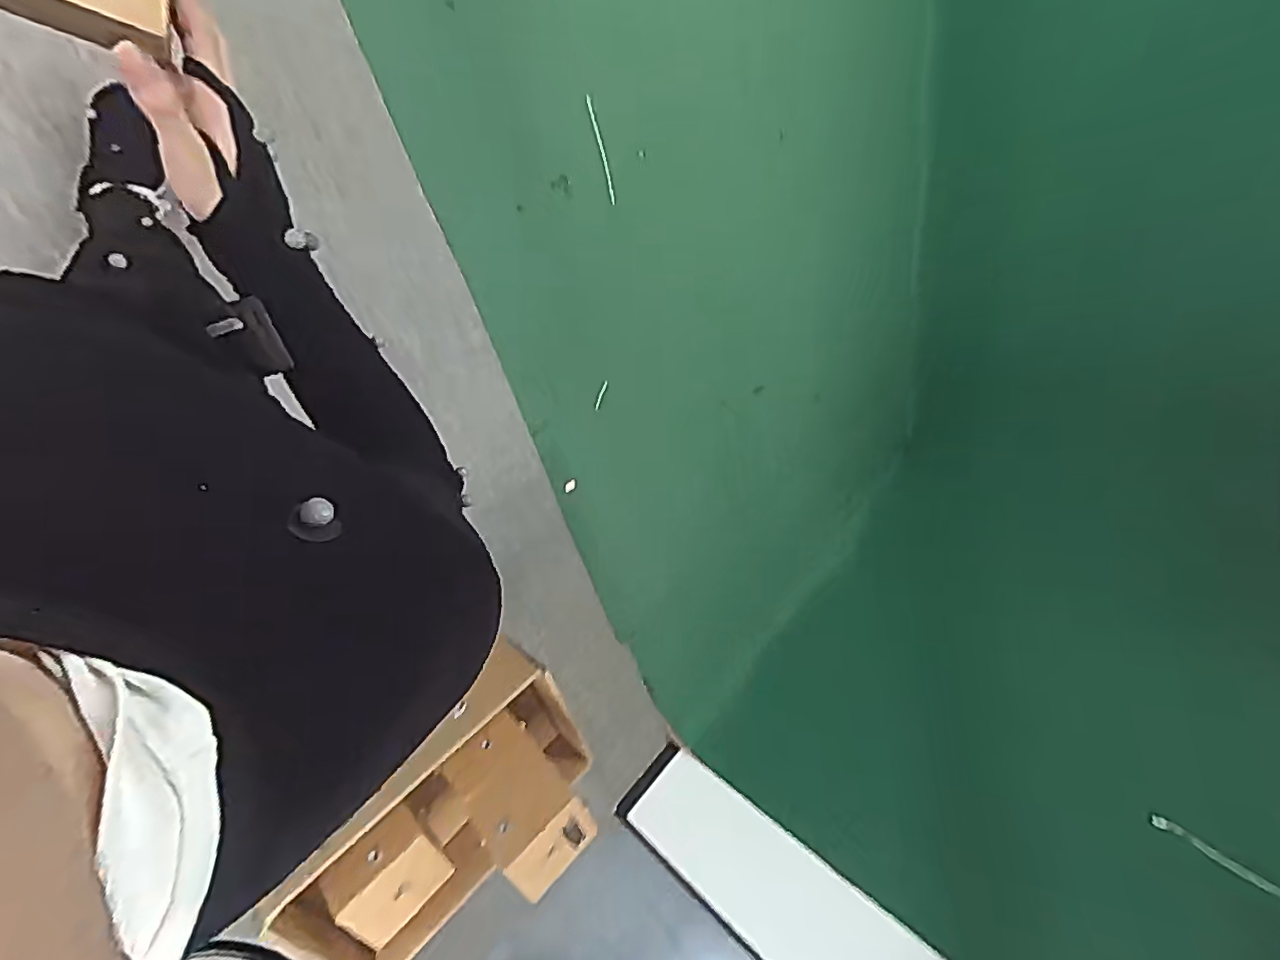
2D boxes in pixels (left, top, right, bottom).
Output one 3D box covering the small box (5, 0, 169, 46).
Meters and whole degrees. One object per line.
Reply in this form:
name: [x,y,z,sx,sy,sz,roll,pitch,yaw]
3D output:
small box: [-0.366,-0.365,0.281,0.179,0.176,0.168,0,115,-39]
